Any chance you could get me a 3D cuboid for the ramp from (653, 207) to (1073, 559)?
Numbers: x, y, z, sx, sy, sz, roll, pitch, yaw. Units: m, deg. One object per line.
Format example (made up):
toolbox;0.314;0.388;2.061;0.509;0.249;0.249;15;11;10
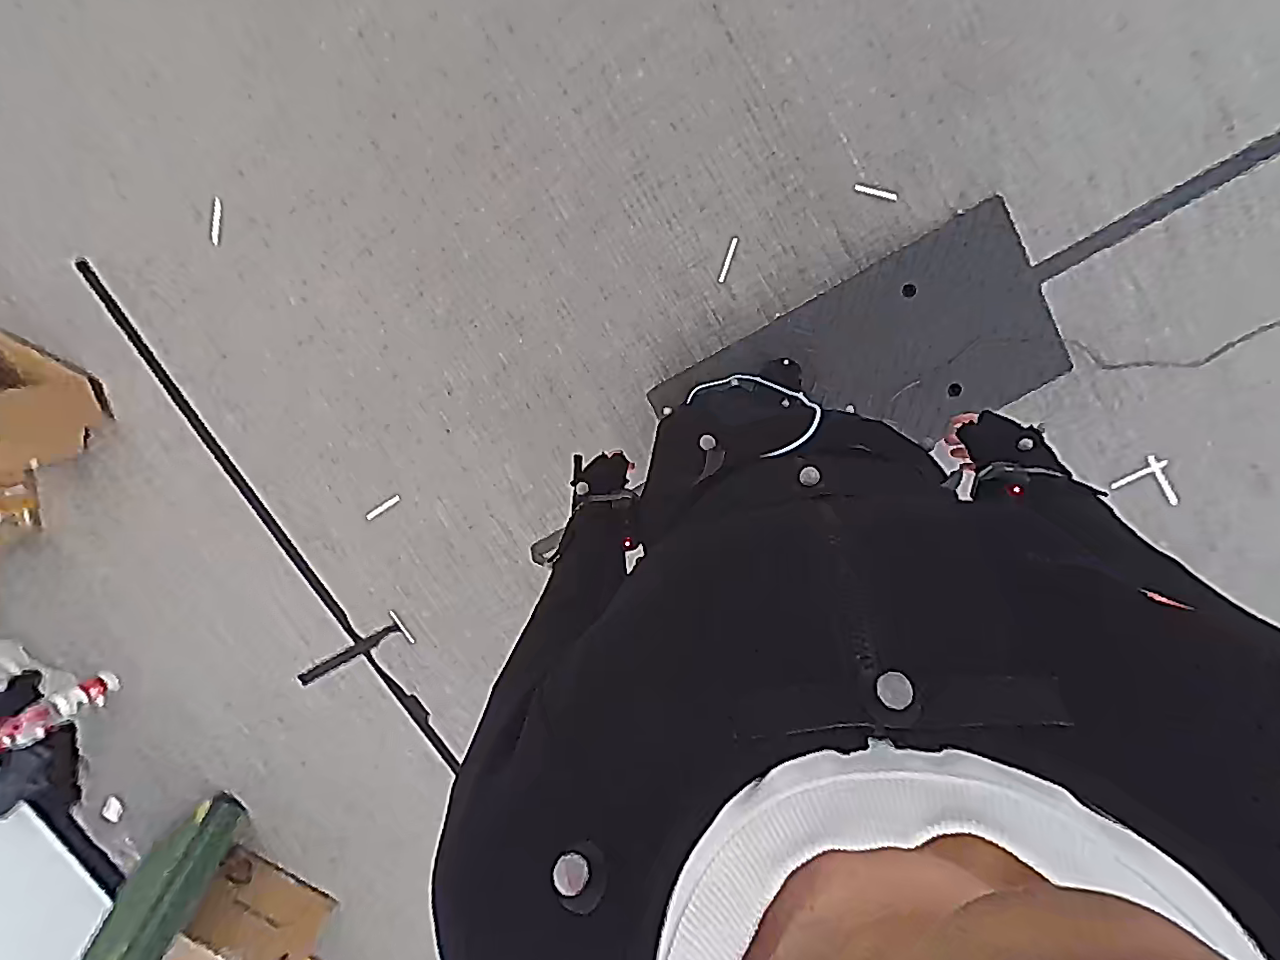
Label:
ramp;0.577;-0.240;1.419;0.991;0.206;0.509;-31;95;14
